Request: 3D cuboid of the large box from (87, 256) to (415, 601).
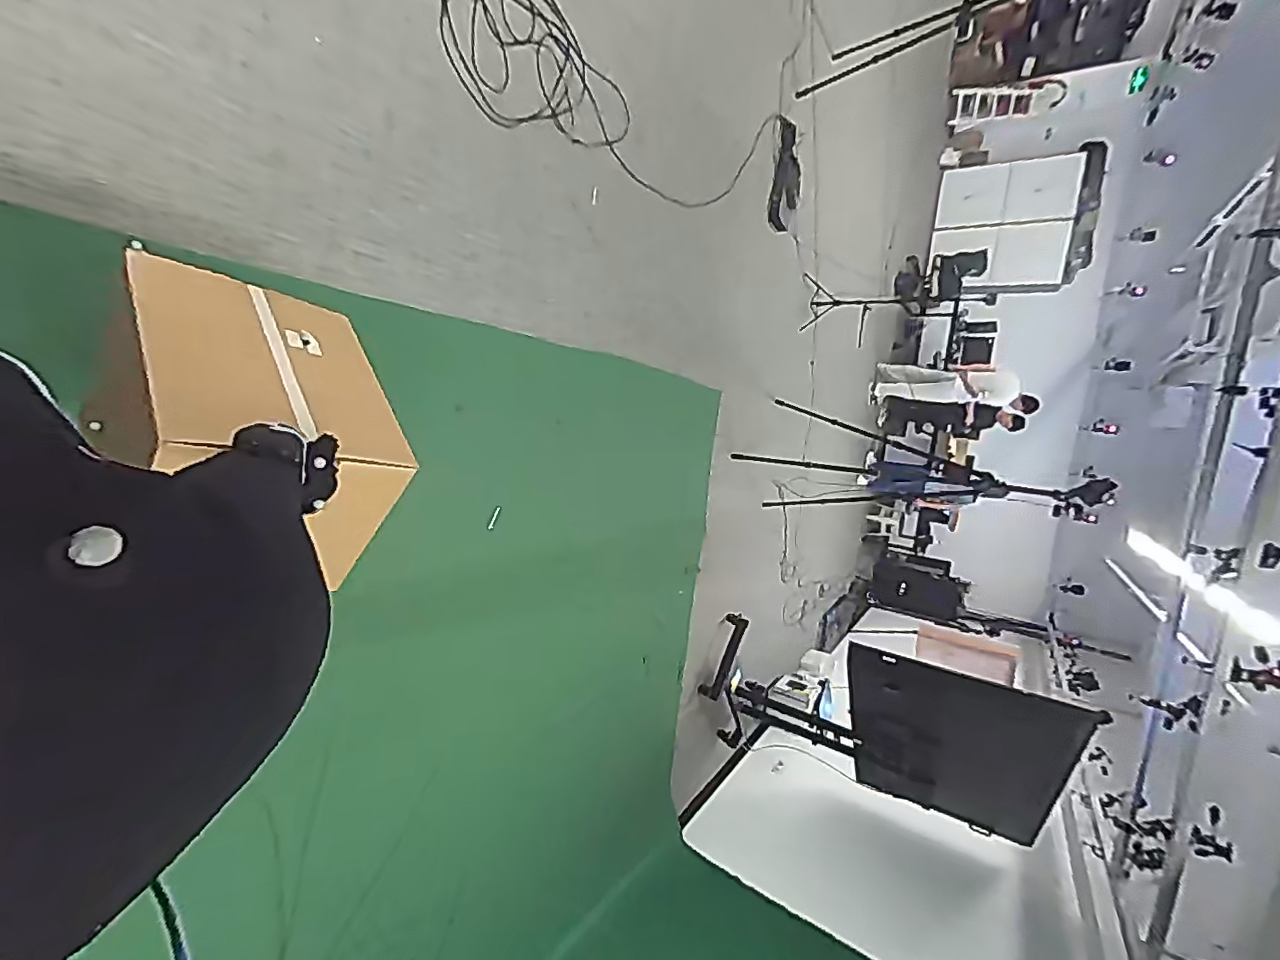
[{"bbox_3d":[-0.636,-0.069,0.873,0.320,0.408,0.320,-48,151,22],"label":"large box"}]
